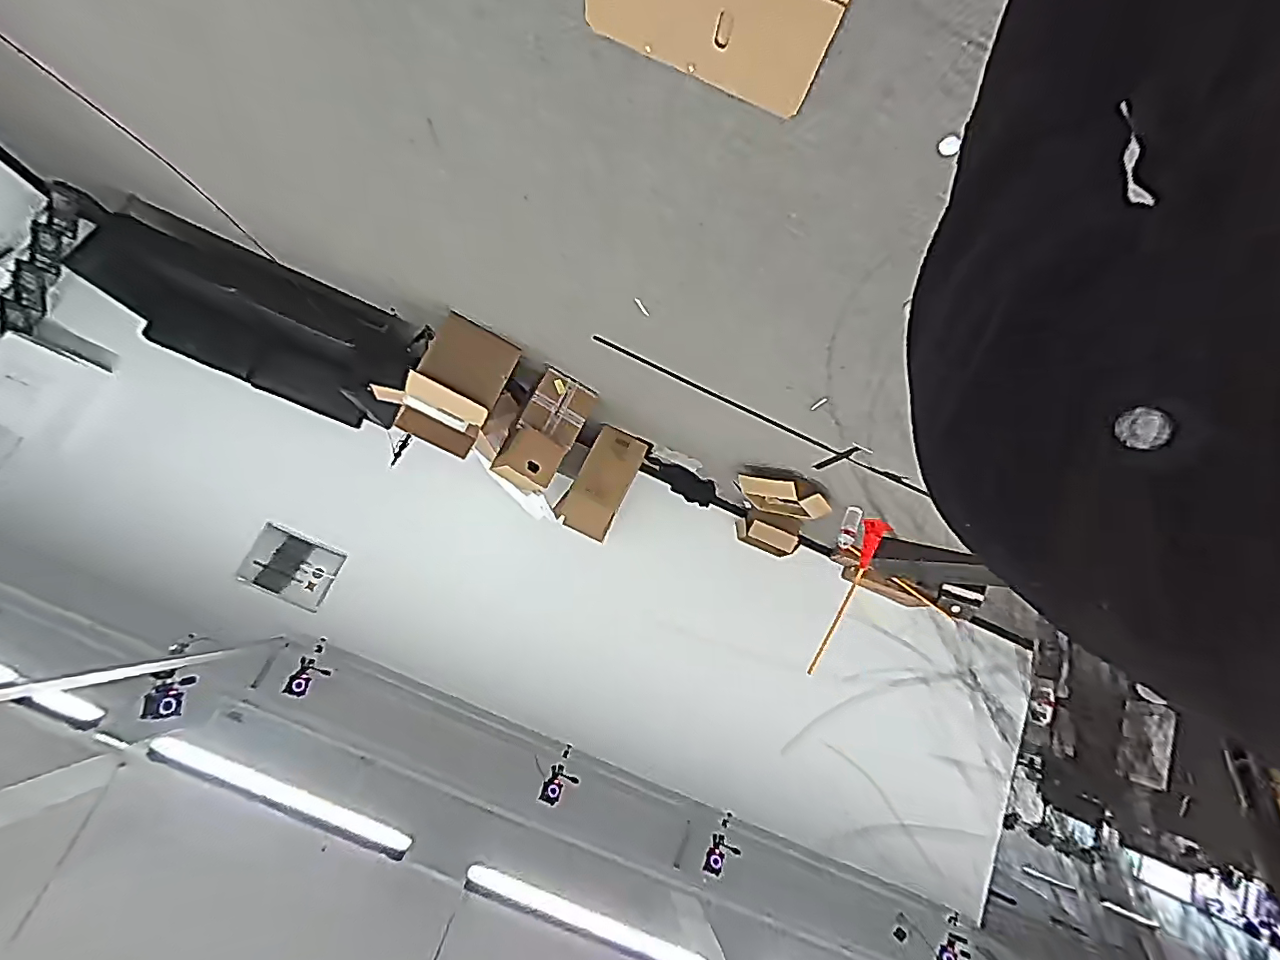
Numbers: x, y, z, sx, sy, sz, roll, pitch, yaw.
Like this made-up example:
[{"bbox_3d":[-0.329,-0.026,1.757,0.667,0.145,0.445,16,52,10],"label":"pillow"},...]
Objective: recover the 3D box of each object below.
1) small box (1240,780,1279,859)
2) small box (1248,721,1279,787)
[{"bbox_3d":[1.750,0.923,1.421,0.179,0.176,0.168,26,165,-8],"label":"small box"},{"bbox_3d":[1.822,0.782,1.461,0.179,0.176,0.168,25,165,-8],"label":"small box"}]
